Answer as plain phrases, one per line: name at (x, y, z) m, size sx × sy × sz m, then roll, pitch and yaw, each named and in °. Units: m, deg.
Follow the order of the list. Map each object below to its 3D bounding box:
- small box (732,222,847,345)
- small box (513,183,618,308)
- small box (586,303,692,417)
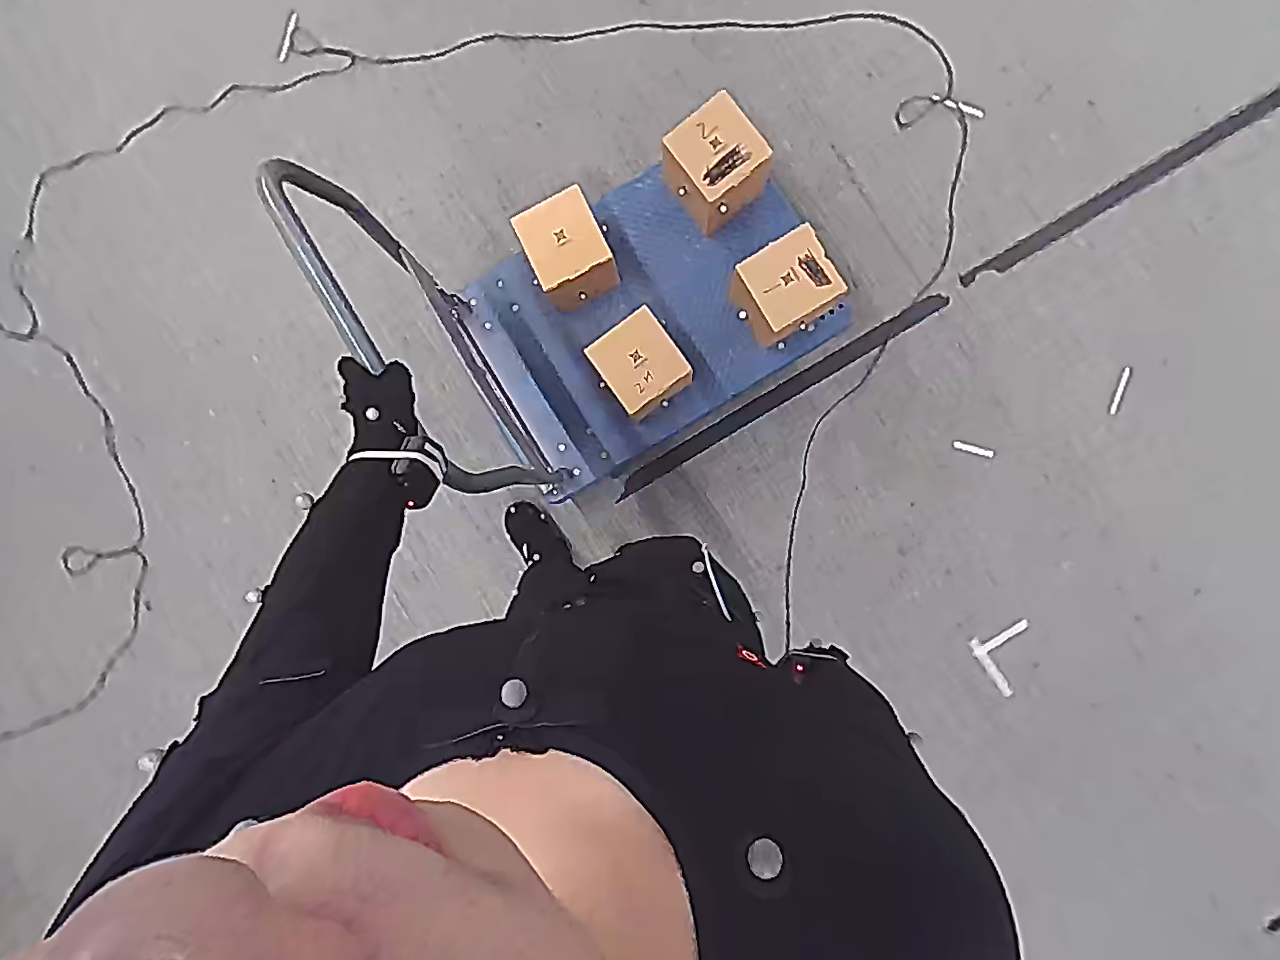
small box at (0.320, -0.424, 1.196) m, size 0.179 × 0.176 × 0.168 m, roll -30°, pitch 89°, yaw 5°
small box at (-0.161, -0.522, 1.227) m, size 0.168 × 0.176 × 0.179 m, roll -26°, pitch 91°, yaw 3°
small box at (0.002, -0.261, 1.222) m, size 0.168 × 0.176 × 0.179 m, roll -36°, pitch 89°, yaw 4°
